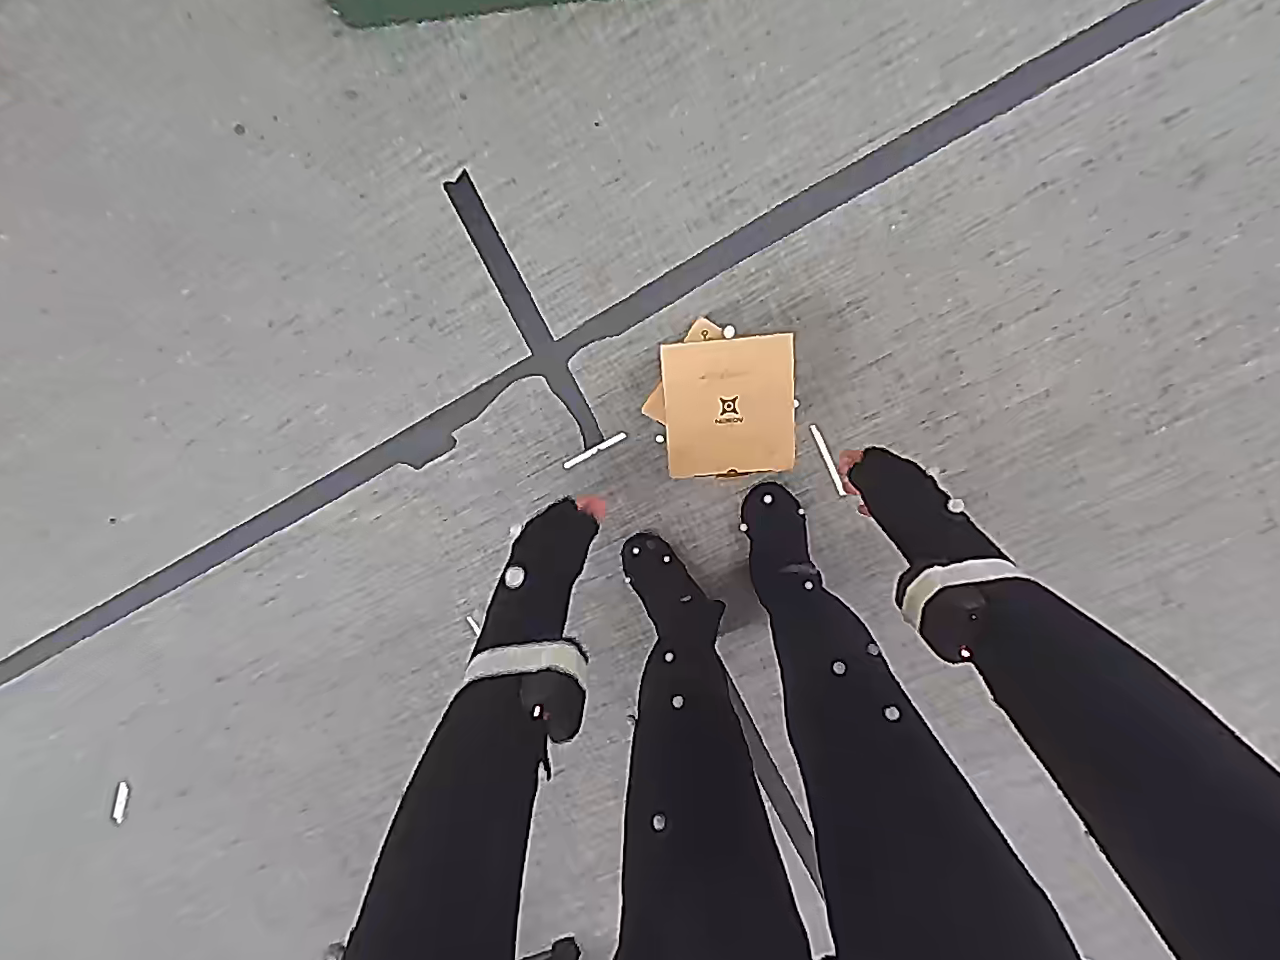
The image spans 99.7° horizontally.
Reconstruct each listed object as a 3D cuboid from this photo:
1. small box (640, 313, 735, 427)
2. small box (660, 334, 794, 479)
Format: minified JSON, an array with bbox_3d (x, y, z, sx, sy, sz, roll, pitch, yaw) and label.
[{"bbox_3d":[0.117,-0.161,0.917,0.168,0.176,0.179,29,104,-3],"label":"small box"},{"bbox_3d":[0.116,-0.109,0.759,0.168,0.176,0.179,-4,104,4],"label":"small box"}]
